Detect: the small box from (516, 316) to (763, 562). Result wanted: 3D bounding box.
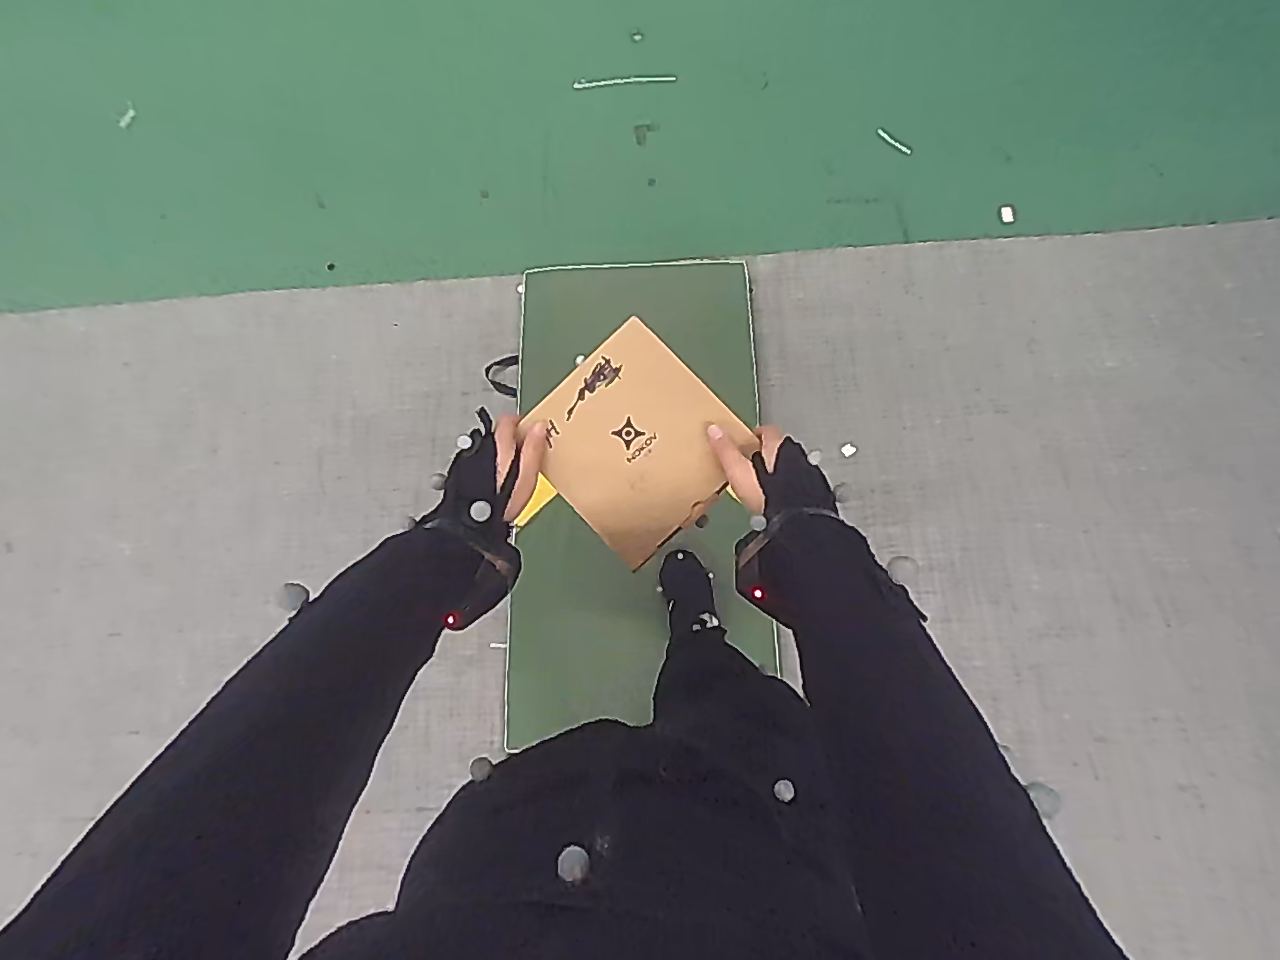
[{"bbox_3d":[0.003,-0.035,0.580,0.168,0.176,0.179,-43,84,-1],"label":"small box"}]
